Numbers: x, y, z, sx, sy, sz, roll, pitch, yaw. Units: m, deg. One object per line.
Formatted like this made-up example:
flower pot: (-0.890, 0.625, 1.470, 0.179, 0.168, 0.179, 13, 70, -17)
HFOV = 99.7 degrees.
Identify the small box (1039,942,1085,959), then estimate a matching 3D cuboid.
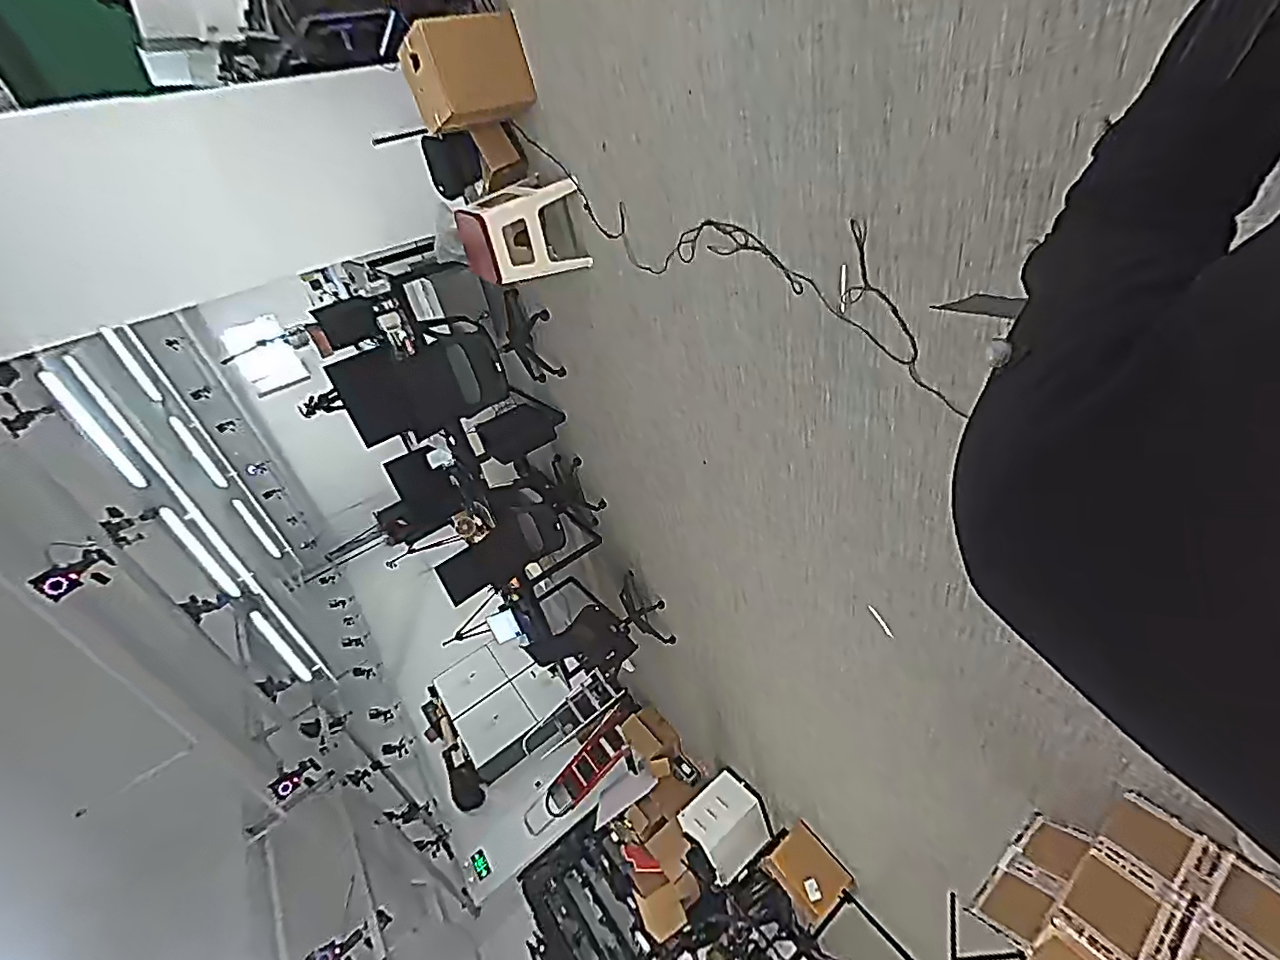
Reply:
small box: (1.123, 1.362, 1.399, 0.179, 0.176, 0.168, 39, 147, 43)
